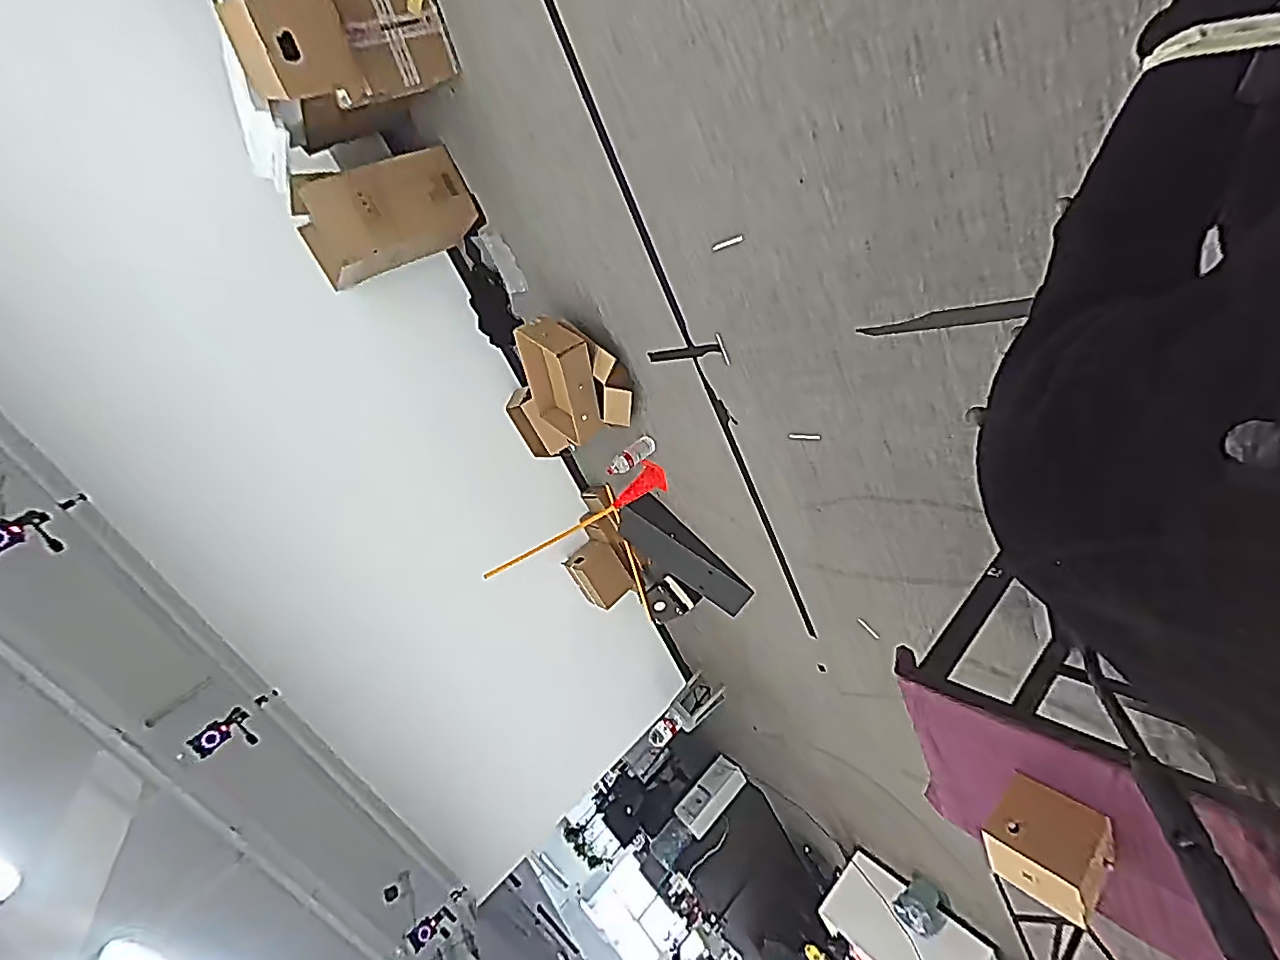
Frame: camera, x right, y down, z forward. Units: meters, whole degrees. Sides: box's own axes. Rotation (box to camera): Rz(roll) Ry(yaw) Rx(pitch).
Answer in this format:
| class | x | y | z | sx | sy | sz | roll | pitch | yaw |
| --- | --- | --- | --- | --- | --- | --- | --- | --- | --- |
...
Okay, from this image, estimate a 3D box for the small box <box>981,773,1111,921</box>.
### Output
| class | x | y | z | sx | sy | sz | roll | pitch | yaw |
| --- | --- | --- | --- | --- | --- | --- | --- | --- | --- |
| small box | 0.872 | 0.771 | 1.161 | 0.179 | 0.176 | 0.168 | 12 | 135 | 54 |
